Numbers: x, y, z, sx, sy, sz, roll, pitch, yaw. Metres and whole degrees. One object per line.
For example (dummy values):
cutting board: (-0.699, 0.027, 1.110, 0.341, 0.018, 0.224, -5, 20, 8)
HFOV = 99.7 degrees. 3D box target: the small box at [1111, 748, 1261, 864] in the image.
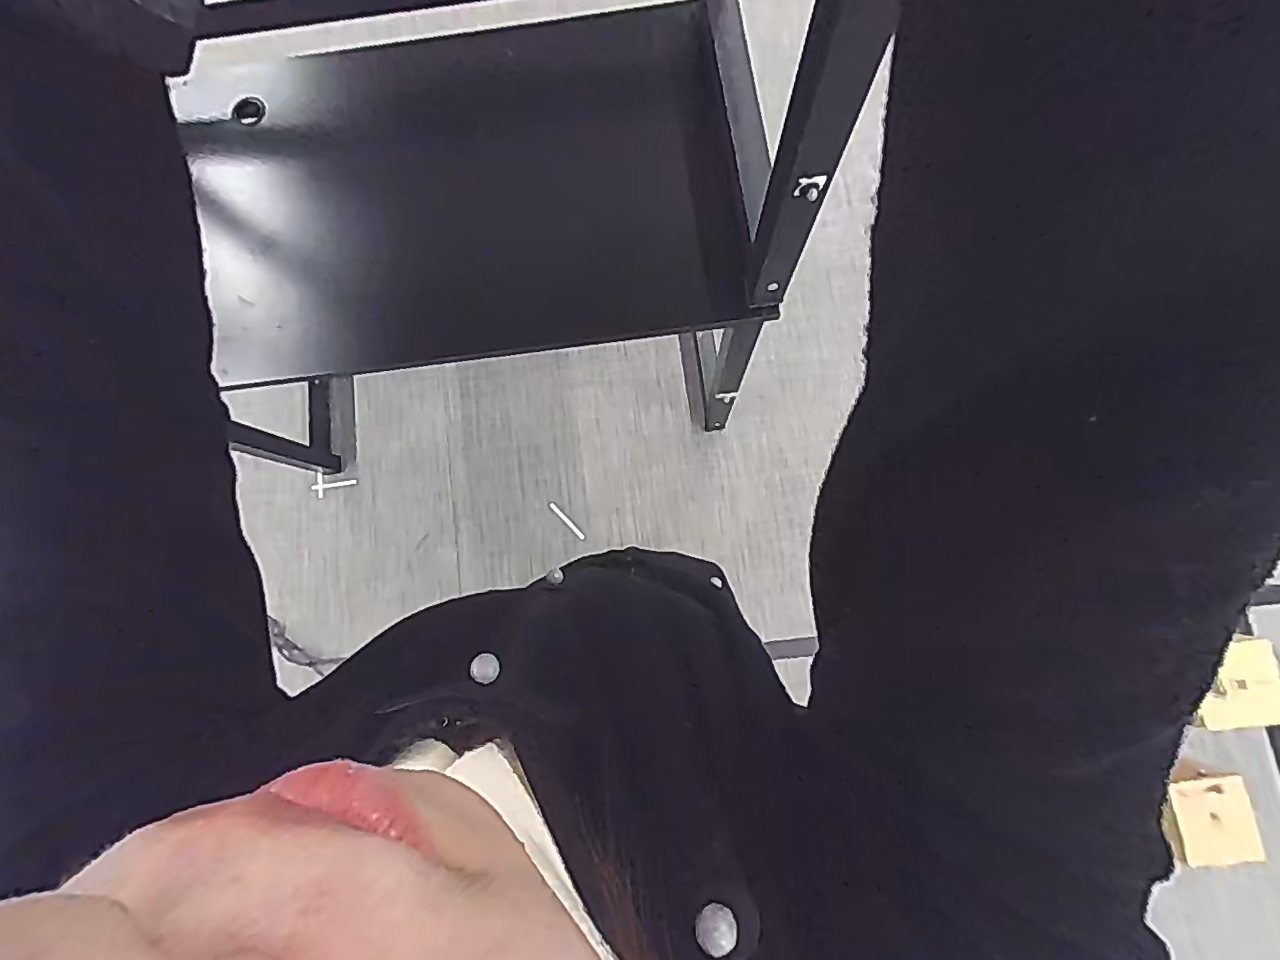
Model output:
small box: (1.275, 0.761, 1.276, 0.168, 0.176, 0.179, -8, 82, 1)

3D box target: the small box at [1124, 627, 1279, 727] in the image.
small box: (1.201, 0.417, 1.166, 0.179, 0.176, 0.168, -6, 82, 0)
